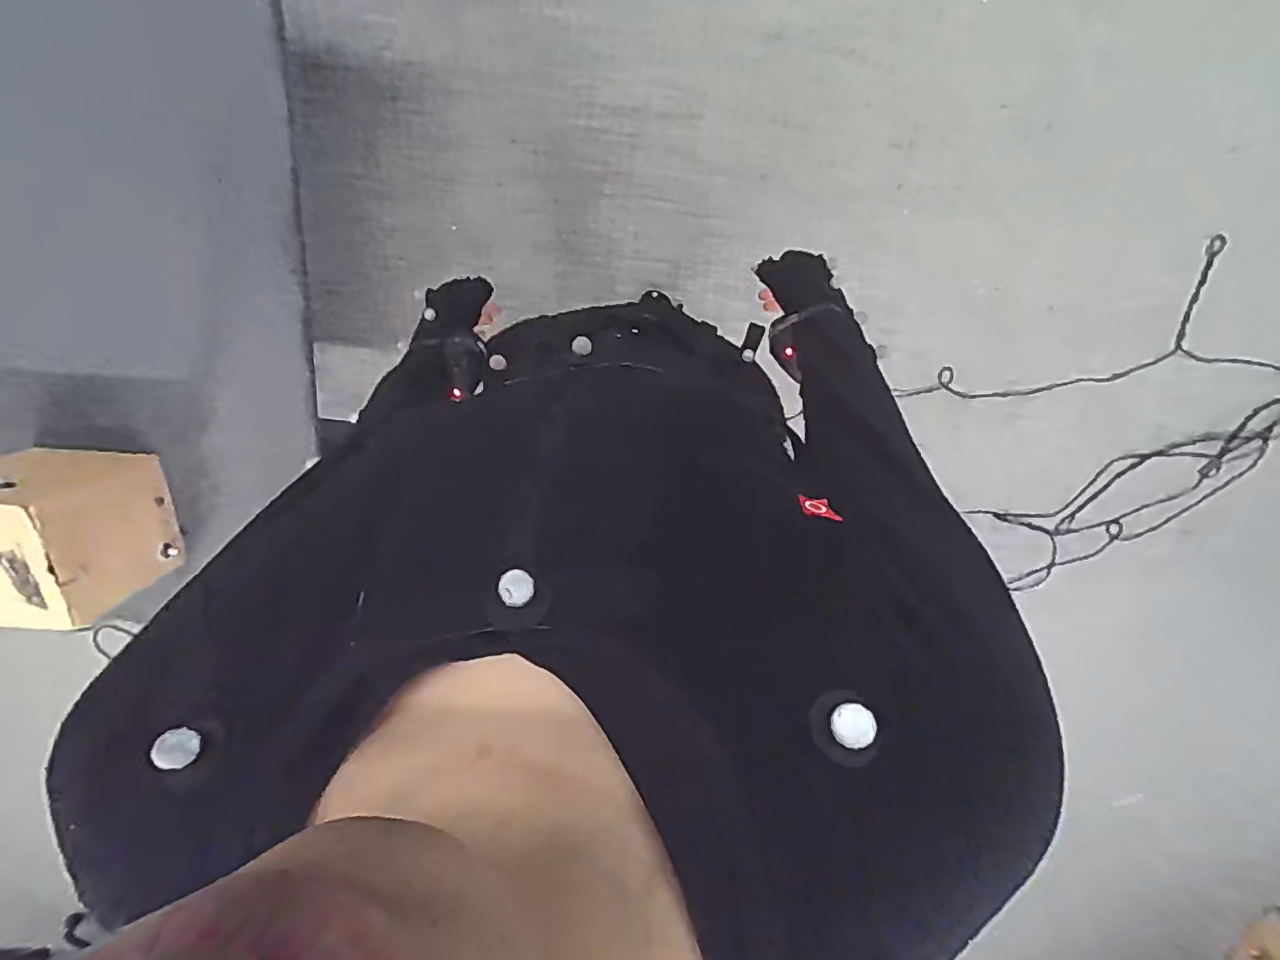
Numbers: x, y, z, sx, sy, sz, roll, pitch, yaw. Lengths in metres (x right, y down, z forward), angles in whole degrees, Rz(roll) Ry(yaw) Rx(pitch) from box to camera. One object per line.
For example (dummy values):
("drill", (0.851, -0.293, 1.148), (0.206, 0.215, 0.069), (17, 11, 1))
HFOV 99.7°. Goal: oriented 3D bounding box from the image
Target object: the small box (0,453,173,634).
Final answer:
("small box", (-0.743, 0.071, 0.681), (0.179, 0.176, 0.168), (4, 111, 1))
